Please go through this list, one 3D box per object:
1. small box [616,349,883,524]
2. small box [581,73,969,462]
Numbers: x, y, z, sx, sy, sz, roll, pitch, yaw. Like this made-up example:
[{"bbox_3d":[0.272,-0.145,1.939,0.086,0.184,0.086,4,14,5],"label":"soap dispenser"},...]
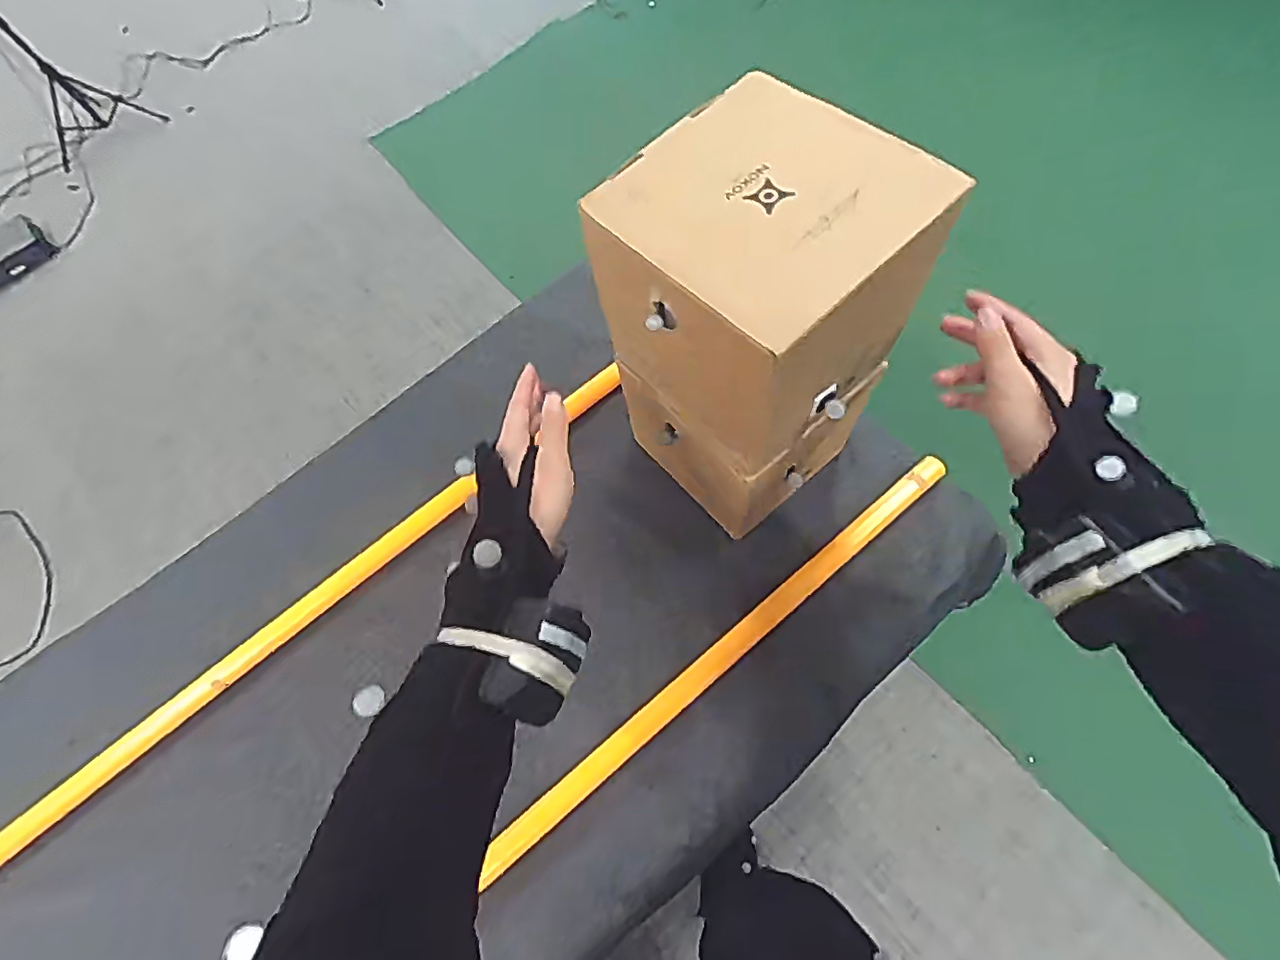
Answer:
[{"bbox_3d":[0.103,-0.075,0.549,0.168,0.176,0.179,-39,67,-9],"label":"small box"},{"bbox_3d":[0.085,-0.144,0.402,0.168,0.176,0.179,-42,68,-9],"label":"small box"}]
